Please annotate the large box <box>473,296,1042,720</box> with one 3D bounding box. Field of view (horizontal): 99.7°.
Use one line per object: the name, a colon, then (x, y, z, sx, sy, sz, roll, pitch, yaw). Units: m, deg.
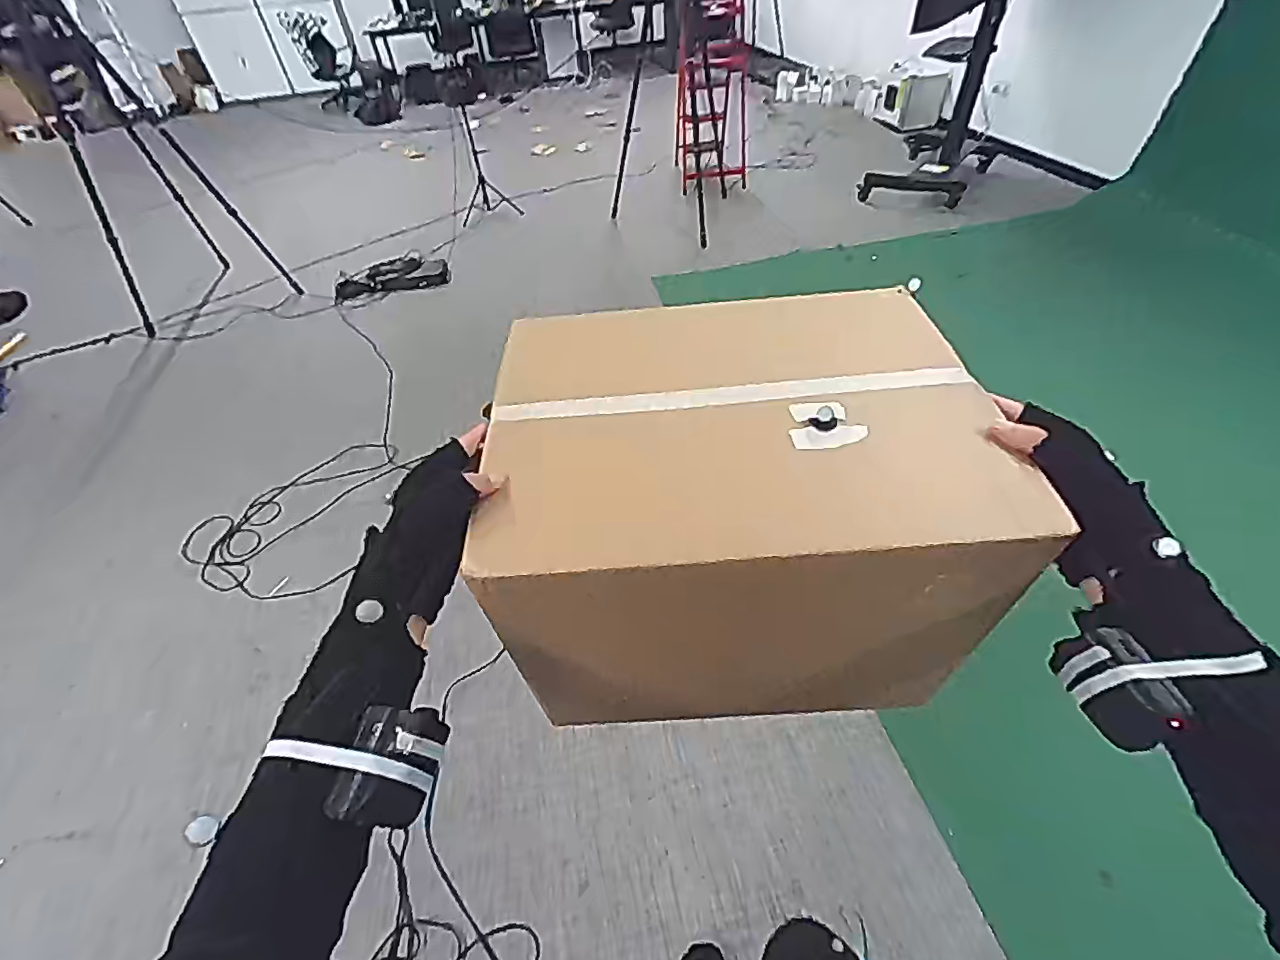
large box: (0.080, 0.036, 0.578, 0.408, 0.320, 0.320, -5, 49, 1)
